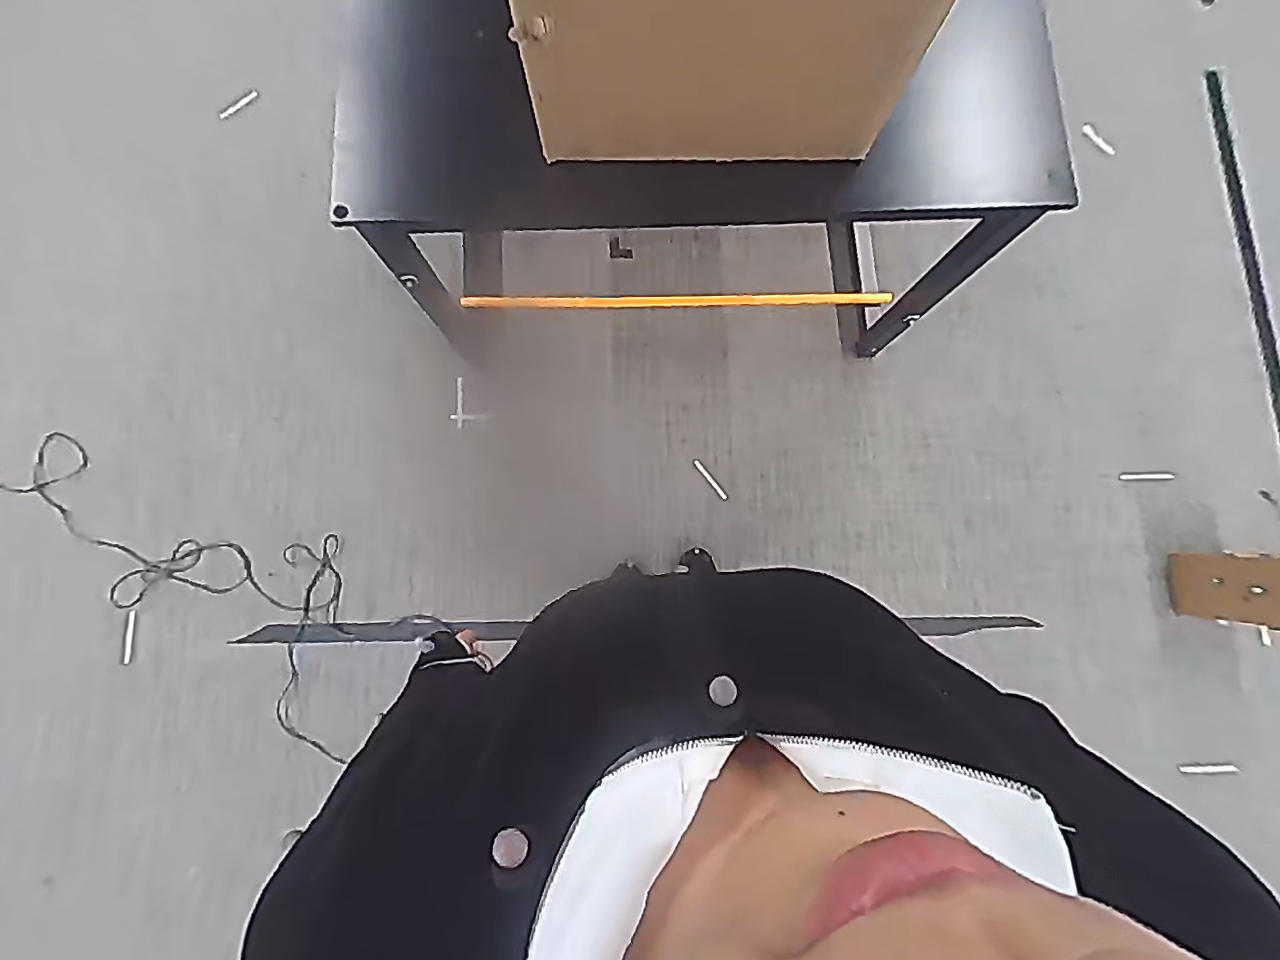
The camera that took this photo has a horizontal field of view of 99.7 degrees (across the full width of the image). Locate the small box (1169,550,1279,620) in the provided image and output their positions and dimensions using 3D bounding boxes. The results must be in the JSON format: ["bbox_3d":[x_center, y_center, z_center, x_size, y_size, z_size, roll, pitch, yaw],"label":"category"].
[{"bbox_3d":[1.581,0.281,1.452,0.168,0.176,0.179,2,83,0],"label":"small box"}]

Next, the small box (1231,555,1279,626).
[{"bbox_3d":[1.589,0.266,1.288,0.179,0.176,0.168,2,82,0],"label":"small box"}]
